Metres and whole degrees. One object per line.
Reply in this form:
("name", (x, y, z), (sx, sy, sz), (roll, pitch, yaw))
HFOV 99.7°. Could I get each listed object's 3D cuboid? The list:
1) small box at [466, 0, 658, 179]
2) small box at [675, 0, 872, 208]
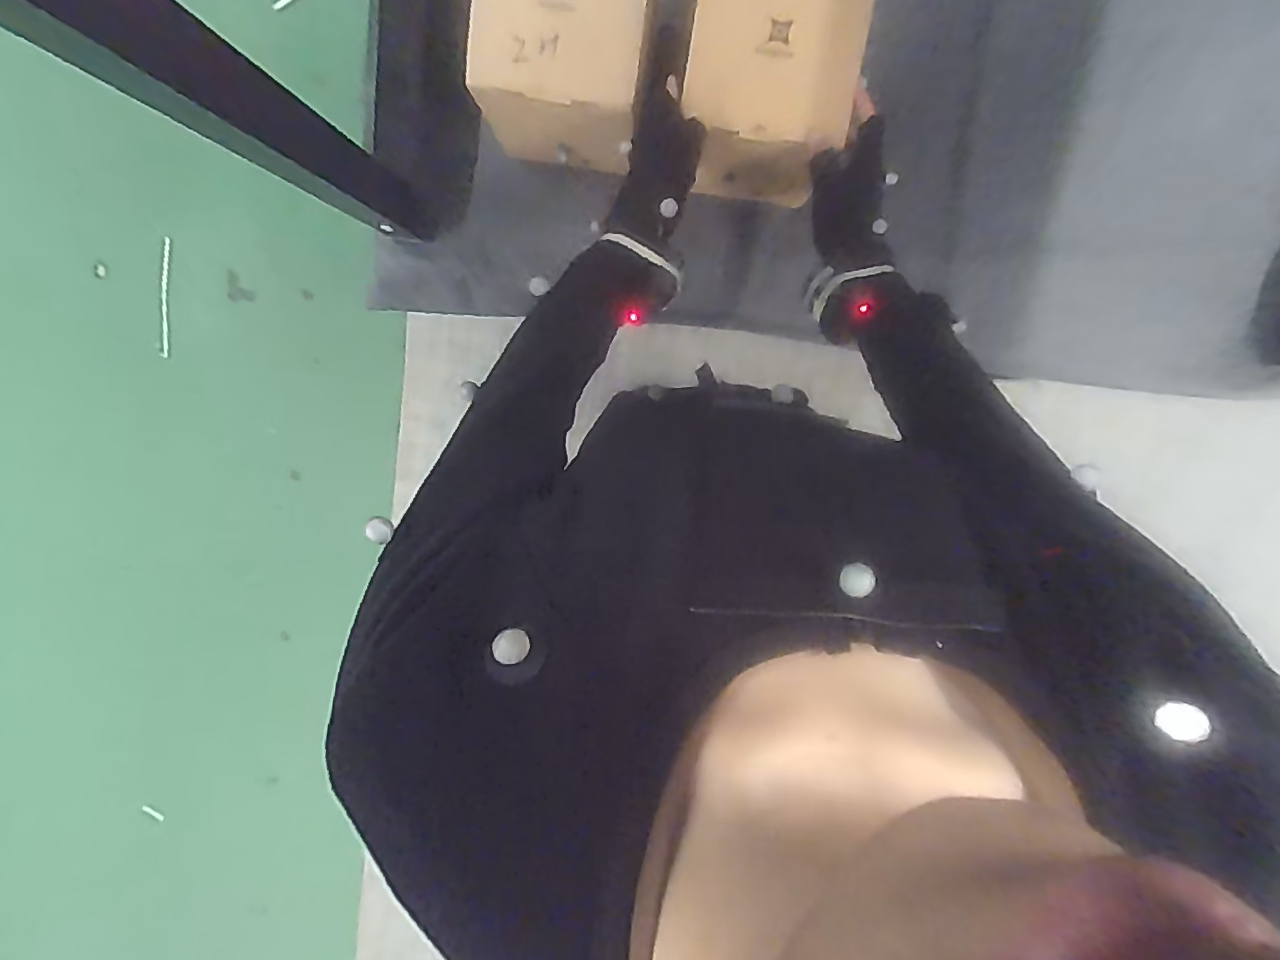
("small box", (-0.073, -0.463, 0.589), (0.168, 0.176, 0.179), (9, 99, 0))
("small box", (0.132, -0.428, 0.593), (0.168, 0.176, 0.179), (9, 100, 1))
